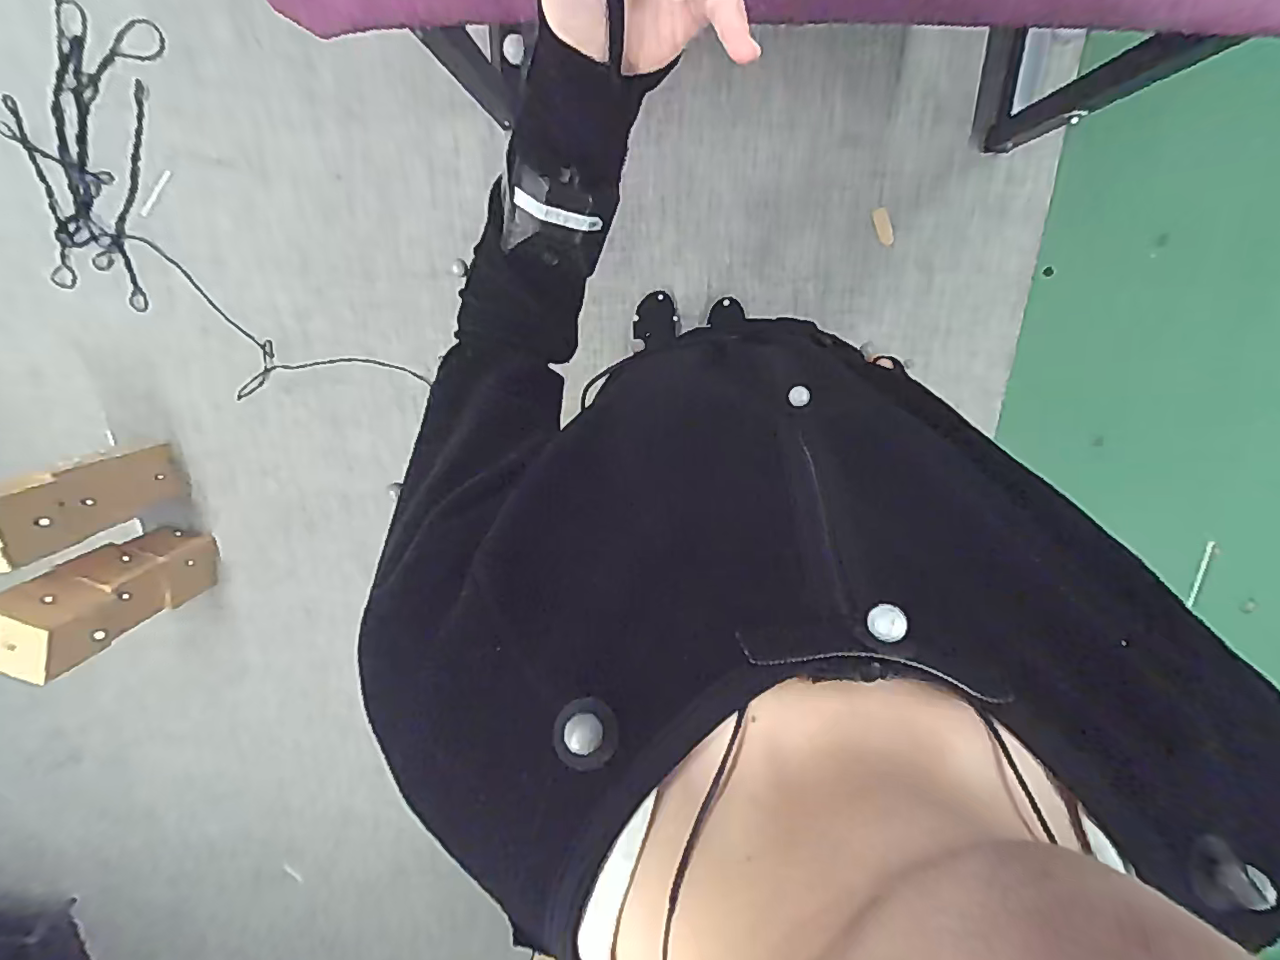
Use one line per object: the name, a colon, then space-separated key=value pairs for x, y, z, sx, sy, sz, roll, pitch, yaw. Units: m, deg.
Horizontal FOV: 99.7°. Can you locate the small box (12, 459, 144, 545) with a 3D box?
small box: x=-1.438 y=0.061 z=1.380 sx=0.168 sy=0.176 sz=0.179 roll=-9 pitch=107 yaw=5

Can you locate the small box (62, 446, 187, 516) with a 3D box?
small box: x=-1.443 y=0.005 z=1.533 sx=0.179 sy=0.176 sz=0.168 roll=-5 pitch=107 yaw=5

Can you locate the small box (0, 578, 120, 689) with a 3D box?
small box: x=-1.428 y=0.361 z=1.304 sx=0.179 sy=0.176 sz=0.168 roll=23 pitch=106 yaw=-4

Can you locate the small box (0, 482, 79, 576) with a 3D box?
small box: x=-1.441 y=0.107 z=1.223 sx=0.179 sy=0.176 sz=0.168 roll=-2 pitch=108 yaw=2

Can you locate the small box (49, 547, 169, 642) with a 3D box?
small box: x=-1.427 y=0.310 z=1.460 sx=0.168 sy=0.176 sz=0.179 roll=19 pitch=106 yaw=-2
